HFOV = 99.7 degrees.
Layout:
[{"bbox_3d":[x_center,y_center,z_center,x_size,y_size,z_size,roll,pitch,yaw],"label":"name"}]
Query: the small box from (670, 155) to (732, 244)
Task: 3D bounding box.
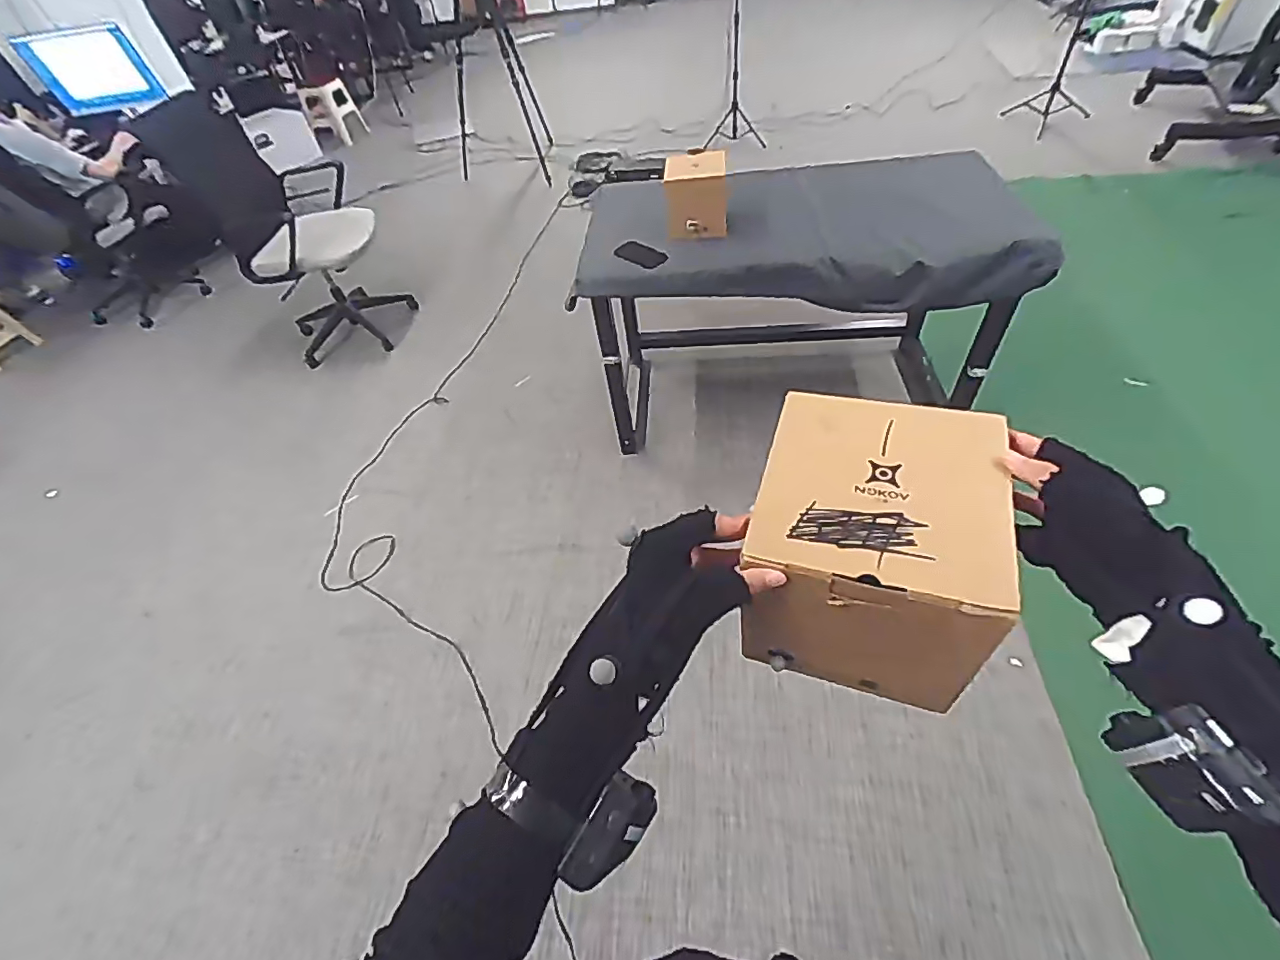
[{"bbox_3d":[0.176,-0.798,1.541,0.168,0.176,0.179,-2,50,9],"label":"small box"}]
